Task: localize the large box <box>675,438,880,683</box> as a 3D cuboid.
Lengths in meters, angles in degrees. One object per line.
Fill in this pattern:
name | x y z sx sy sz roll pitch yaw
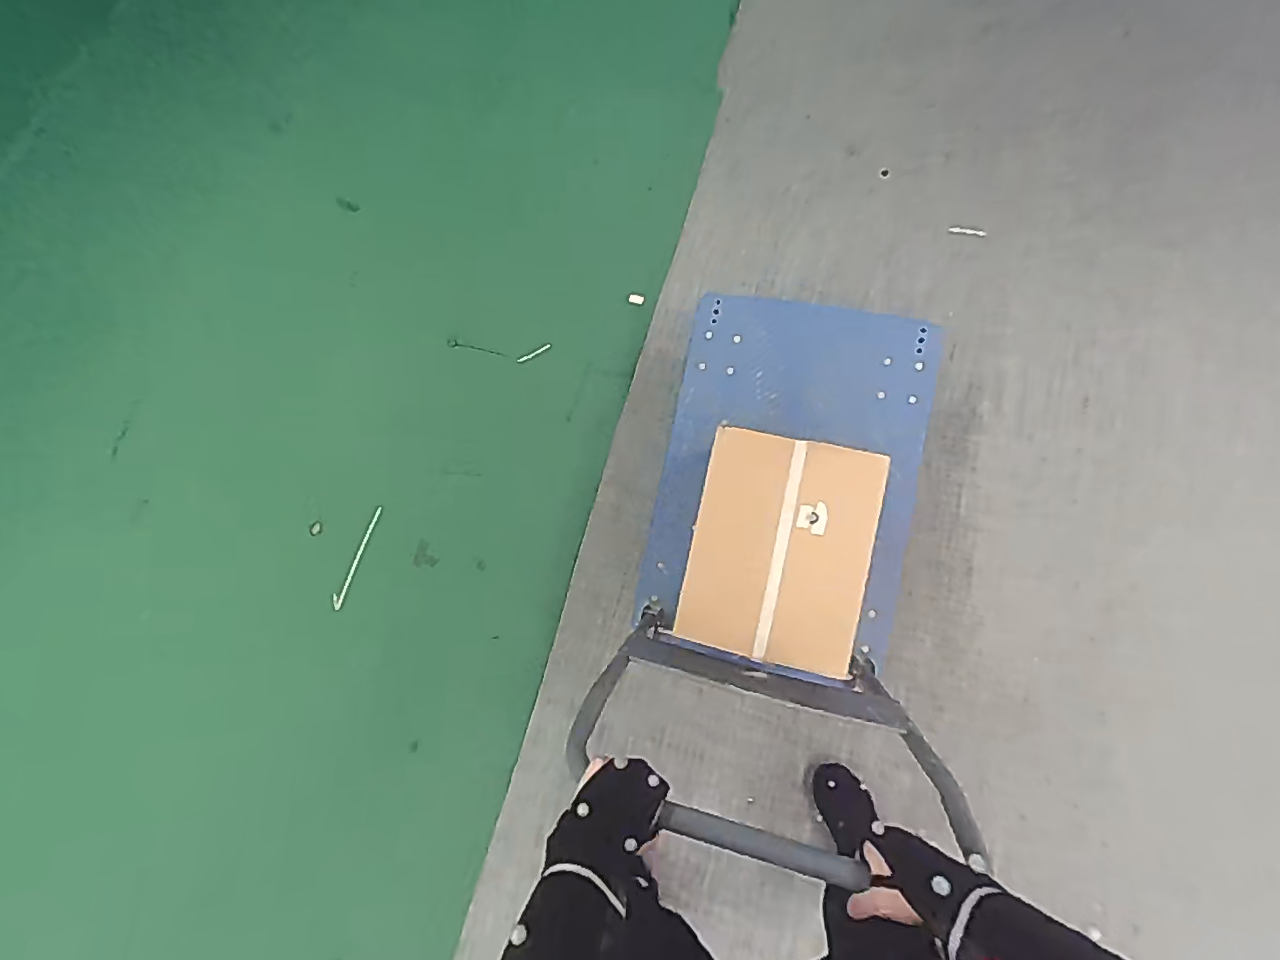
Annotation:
large box | 0.278 0.157 1.141 0.320 0.320 0.408 12 86 11
